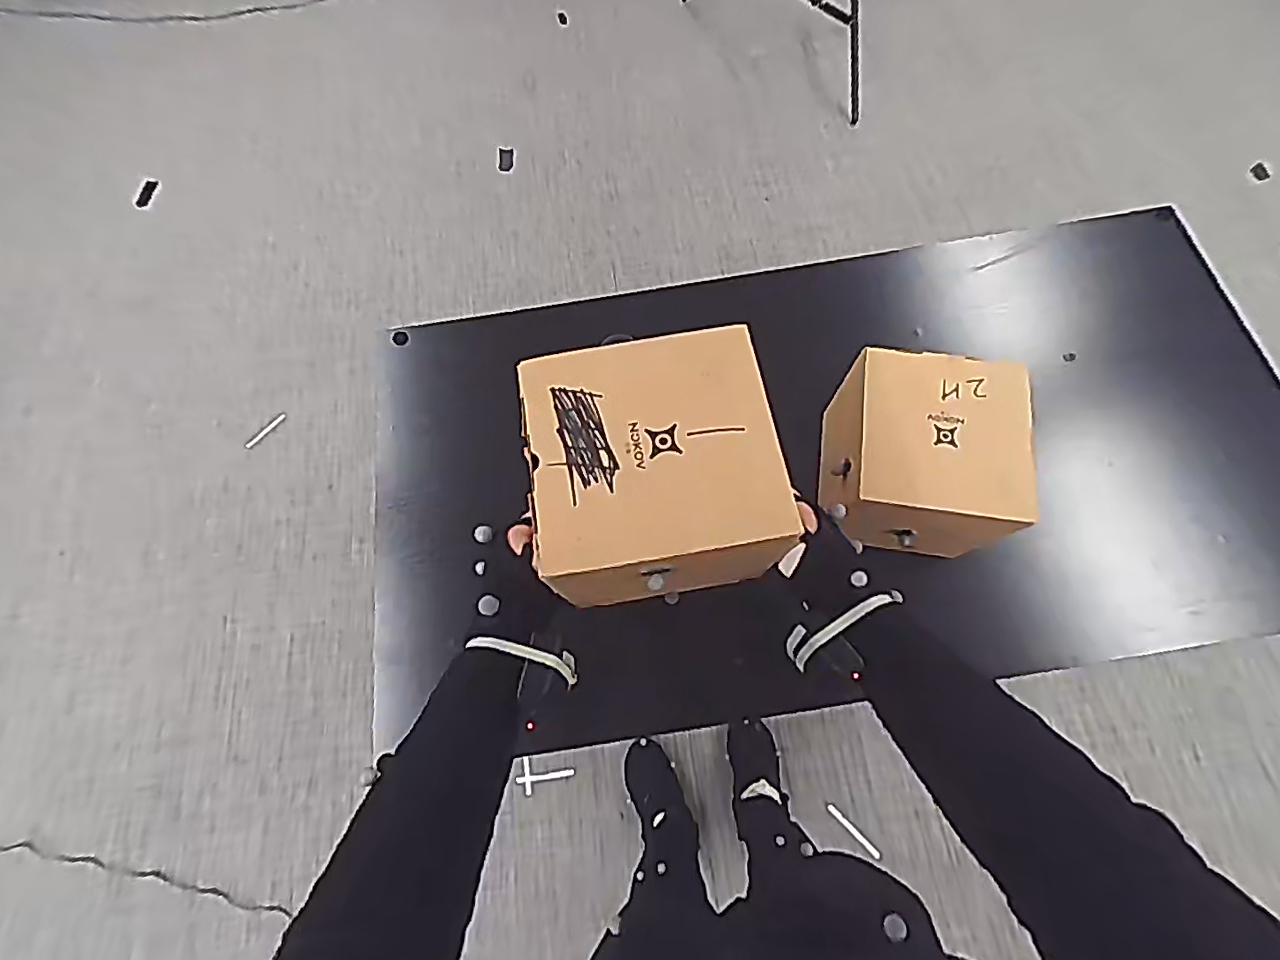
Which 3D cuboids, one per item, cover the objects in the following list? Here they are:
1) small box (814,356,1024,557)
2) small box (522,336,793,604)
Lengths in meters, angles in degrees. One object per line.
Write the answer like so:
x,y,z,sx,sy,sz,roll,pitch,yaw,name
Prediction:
0.307,-0.017,0.628,0.168,0.176,0.179,8,71,6,small box
0.010,0.005,0.462,0.179,0.176,0.168,-9,71,-1,small box
